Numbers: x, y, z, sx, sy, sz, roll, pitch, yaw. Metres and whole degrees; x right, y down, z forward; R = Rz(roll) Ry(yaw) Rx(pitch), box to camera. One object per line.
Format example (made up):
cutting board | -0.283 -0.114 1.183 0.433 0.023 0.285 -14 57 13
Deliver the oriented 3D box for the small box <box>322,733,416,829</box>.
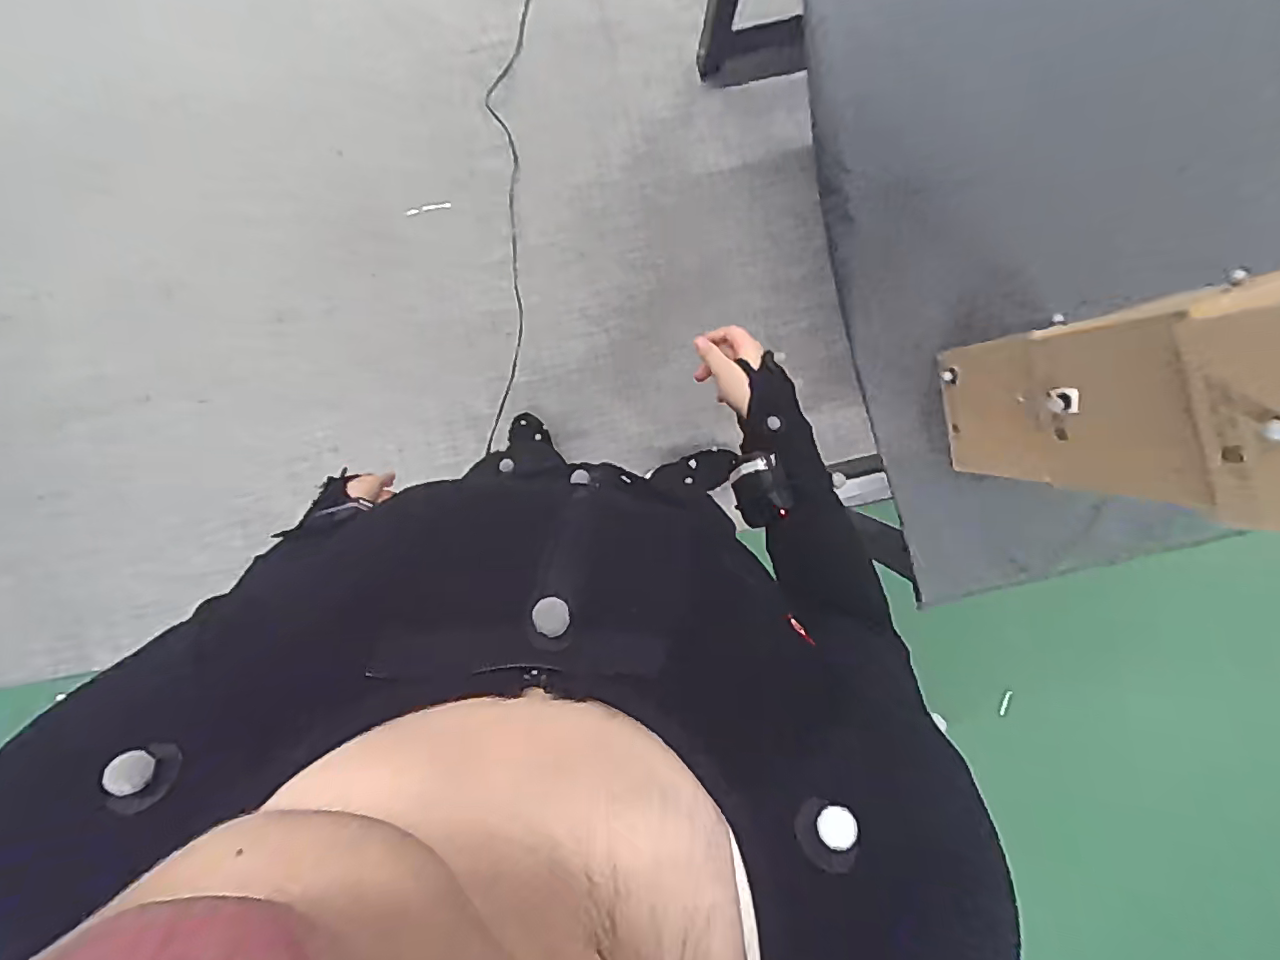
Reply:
small box | -0.731 0.812 1.475 0.168 0.176 0.179 -5 97 -1

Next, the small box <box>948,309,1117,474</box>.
small box | 0.510 -0.108 0.666 0.179 0.176 0.168 -13 97 -4

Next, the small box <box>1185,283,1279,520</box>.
small box | 0.520 -0.069 0.340 0.179 0.176 0.168 -20 95 -2

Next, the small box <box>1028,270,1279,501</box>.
small box | 0.516 -0.091 0.504 0.179 0.176 0.168 -16 96 -1
